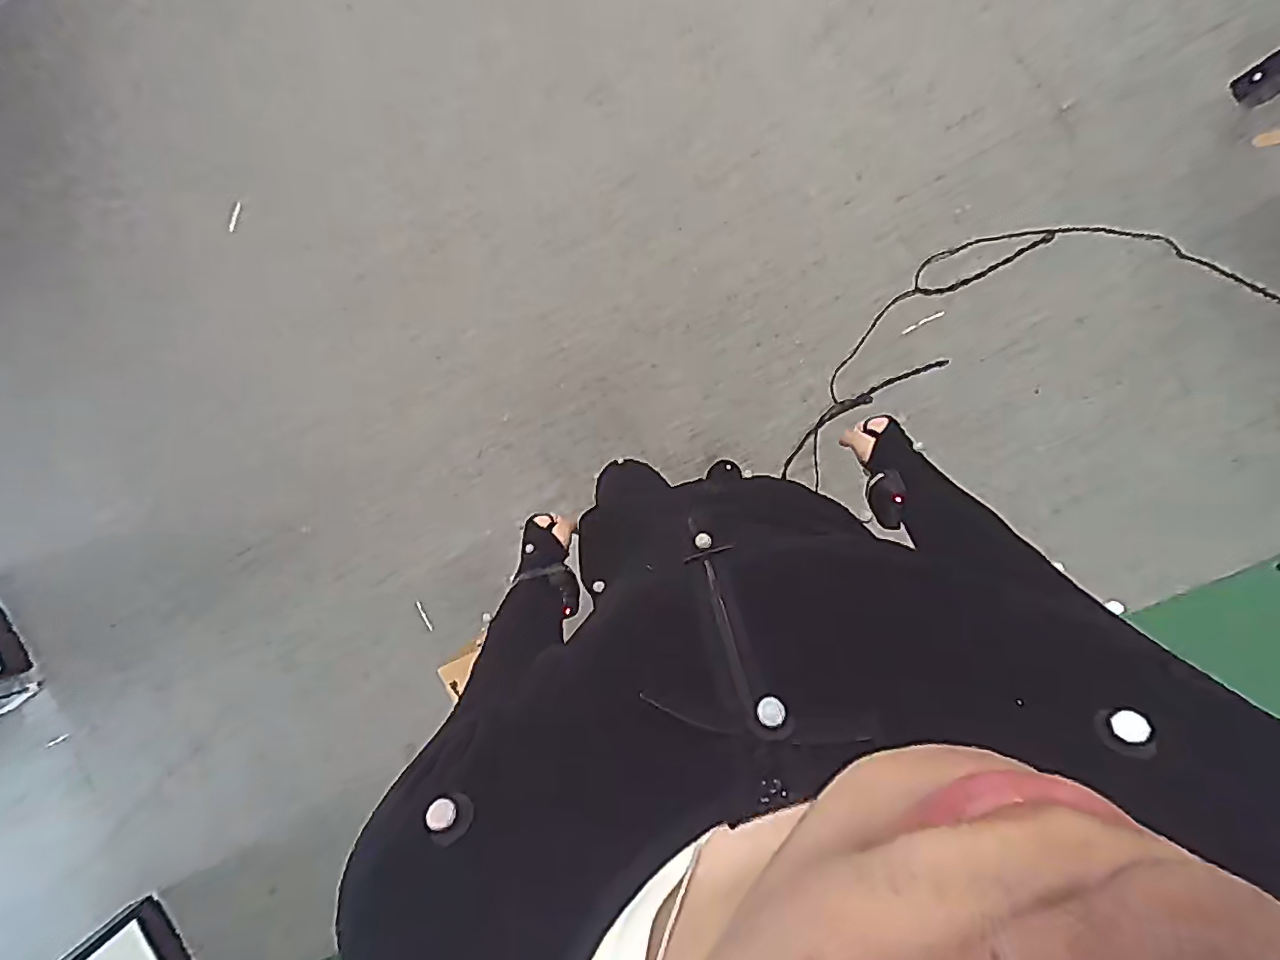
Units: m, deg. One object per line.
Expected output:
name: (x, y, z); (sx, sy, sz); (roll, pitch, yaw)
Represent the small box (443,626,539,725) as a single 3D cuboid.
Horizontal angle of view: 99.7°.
small box: (-0.394, 0.524, 1.476); (0.179, 0.176, 0.168); (-27, 89, 8)
